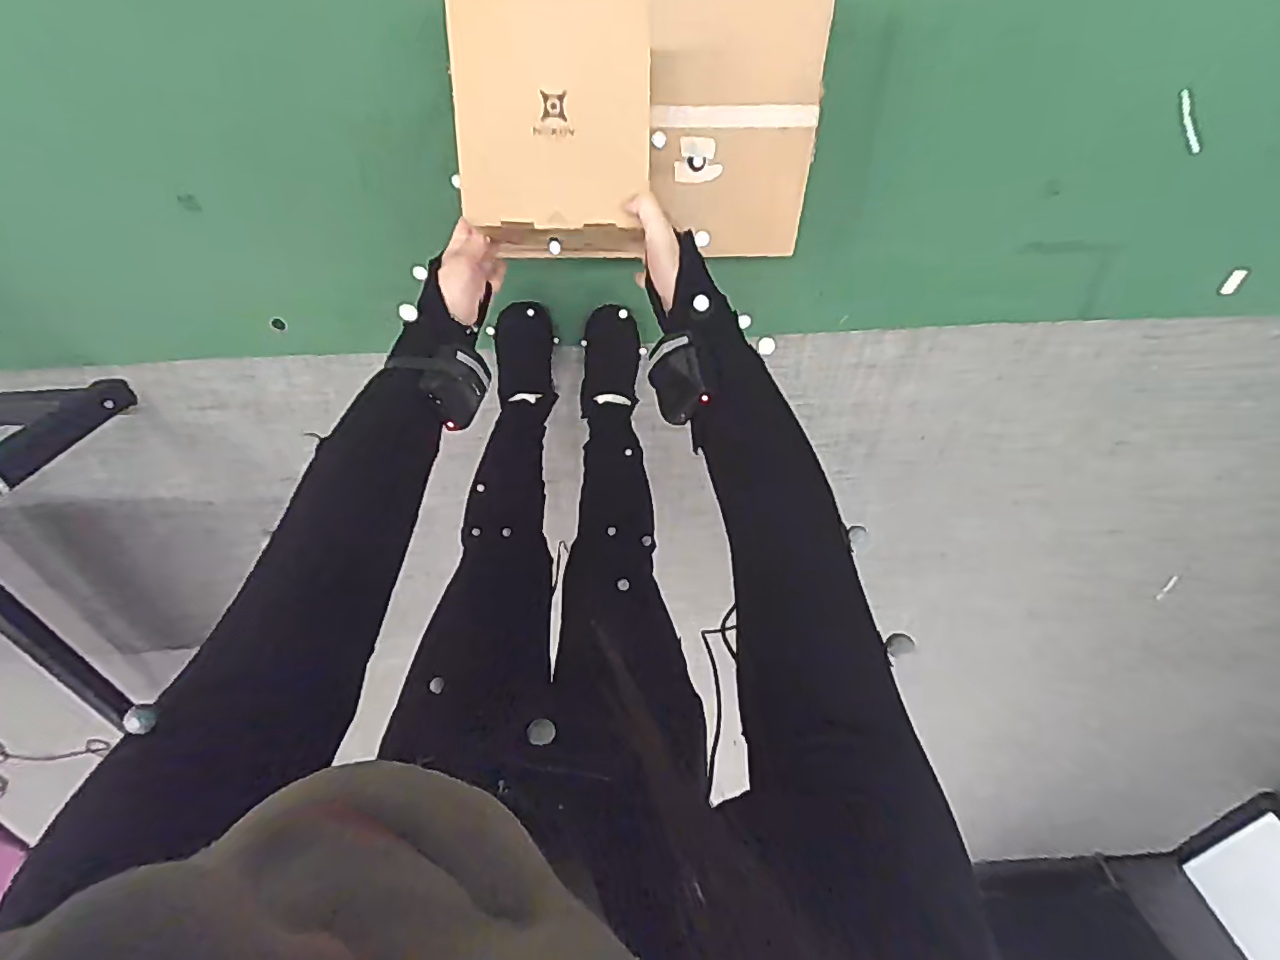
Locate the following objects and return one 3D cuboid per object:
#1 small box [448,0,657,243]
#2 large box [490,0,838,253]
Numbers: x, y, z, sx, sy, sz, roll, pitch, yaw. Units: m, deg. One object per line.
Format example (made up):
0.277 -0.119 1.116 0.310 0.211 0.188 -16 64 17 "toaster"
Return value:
-0.074 -0.332 0.521 0.168 0.176 0.179 -1 110 -3 "small box"
-0.001 -0.511 0.721 0.408 0.320 0.320 -2 128 -2 "large box"
